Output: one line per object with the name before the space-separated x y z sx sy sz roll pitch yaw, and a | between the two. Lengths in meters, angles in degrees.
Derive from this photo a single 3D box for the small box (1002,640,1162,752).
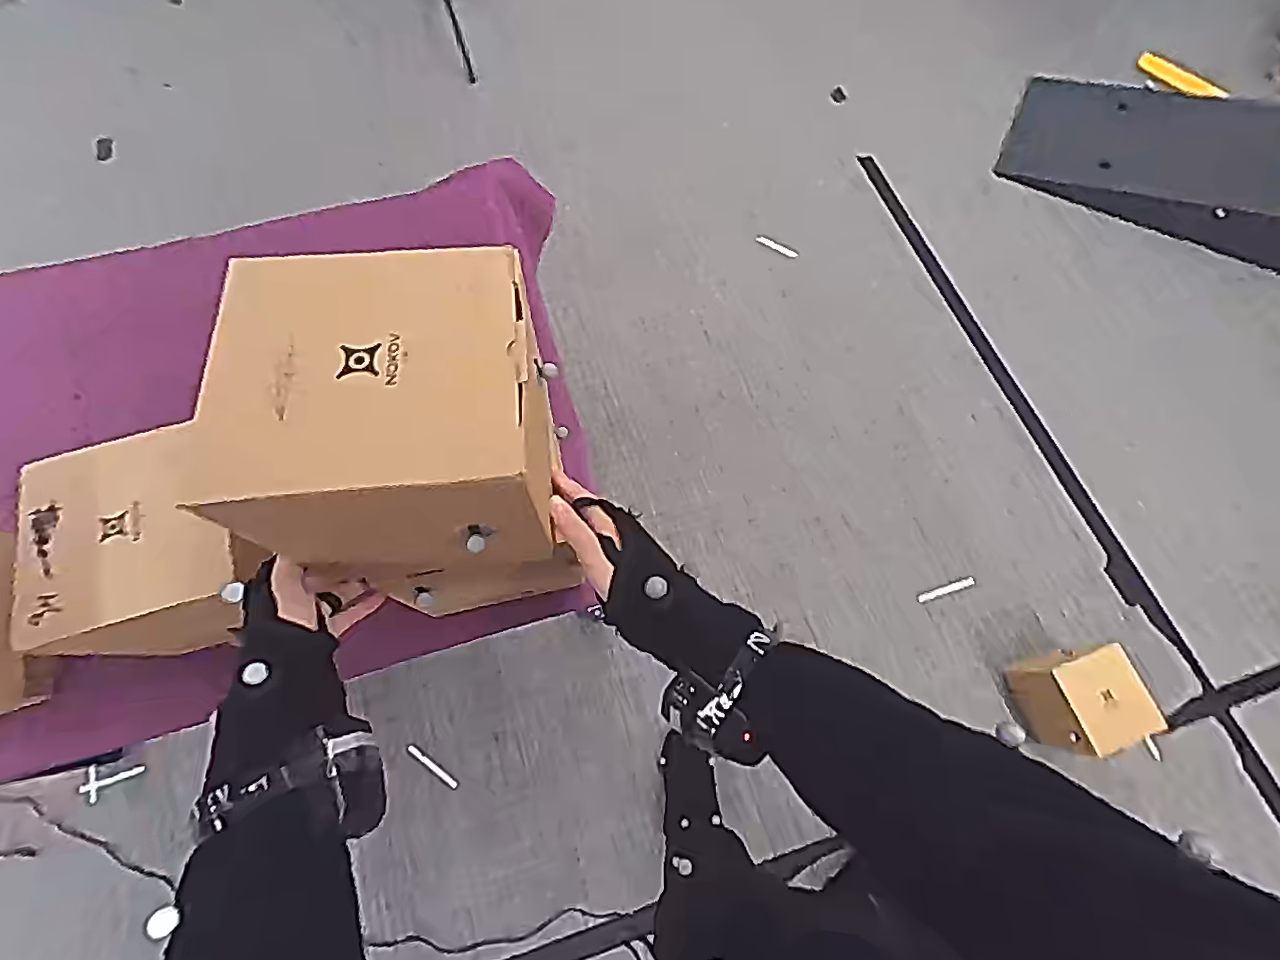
small box | 0.940 0.460 1.171 0.168 0.176 0.179 -19 73 -6

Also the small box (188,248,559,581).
small box | -0.150 -0.033 0.376 0.179 0.176 0.168 -5 67 -5

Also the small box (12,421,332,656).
small box | -0.428 0.063 0.527 0.179 0.176 0.168 -16 73 -6

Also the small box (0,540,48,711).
small box | -0.711 0.148 0.498 0.168 0.176 0.179 -19 72 -7
